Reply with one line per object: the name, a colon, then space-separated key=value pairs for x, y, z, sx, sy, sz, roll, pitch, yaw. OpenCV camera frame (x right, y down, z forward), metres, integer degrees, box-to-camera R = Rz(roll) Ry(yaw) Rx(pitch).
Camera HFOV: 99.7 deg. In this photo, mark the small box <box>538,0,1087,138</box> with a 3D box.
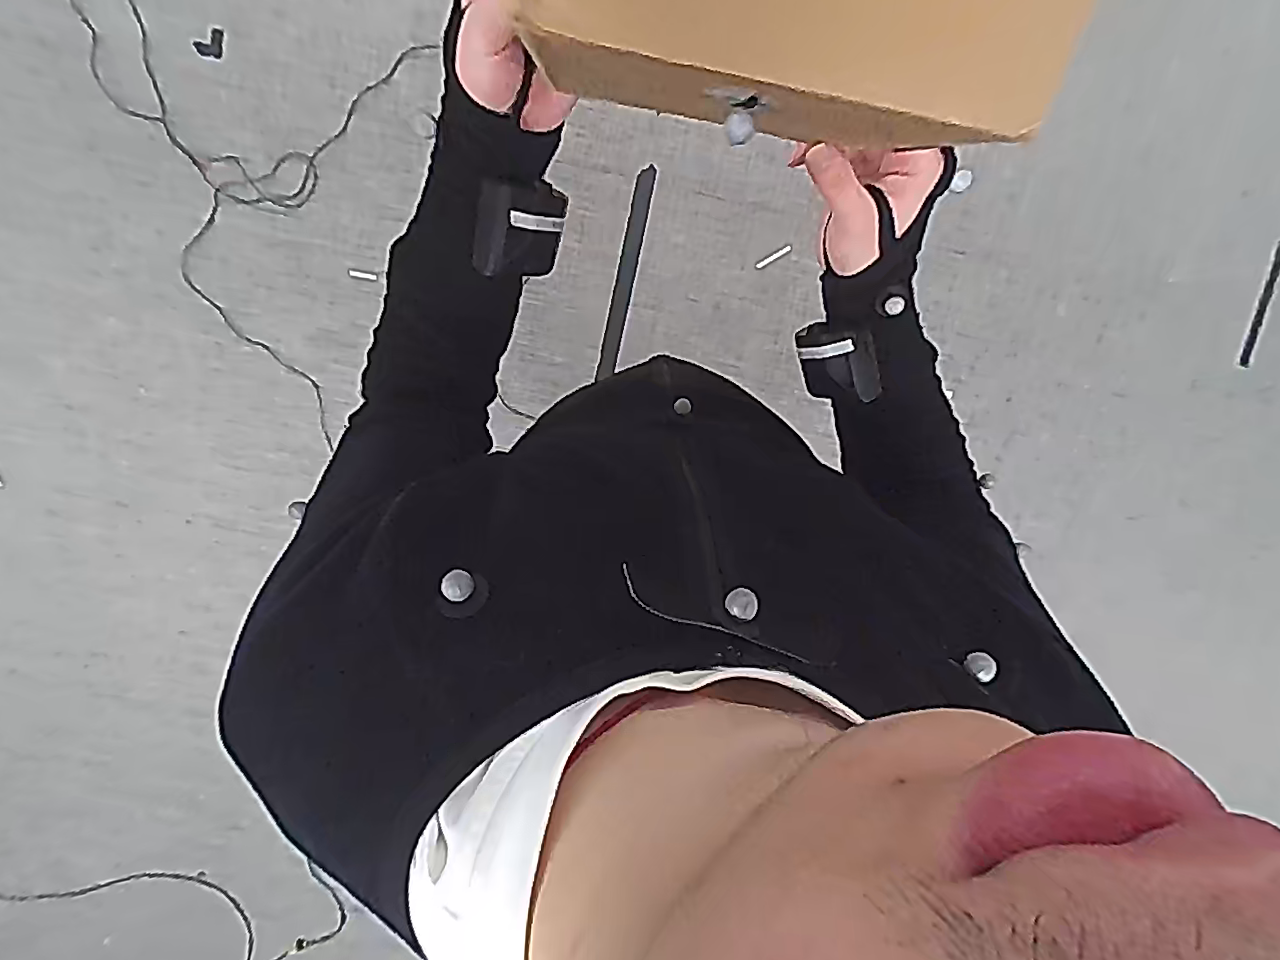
small box: x=0.059 y=-0.242 z=0.208 sx=0.179 sy=0.176 sz=0.168 roll=4 pitch=120 yaw=-9
